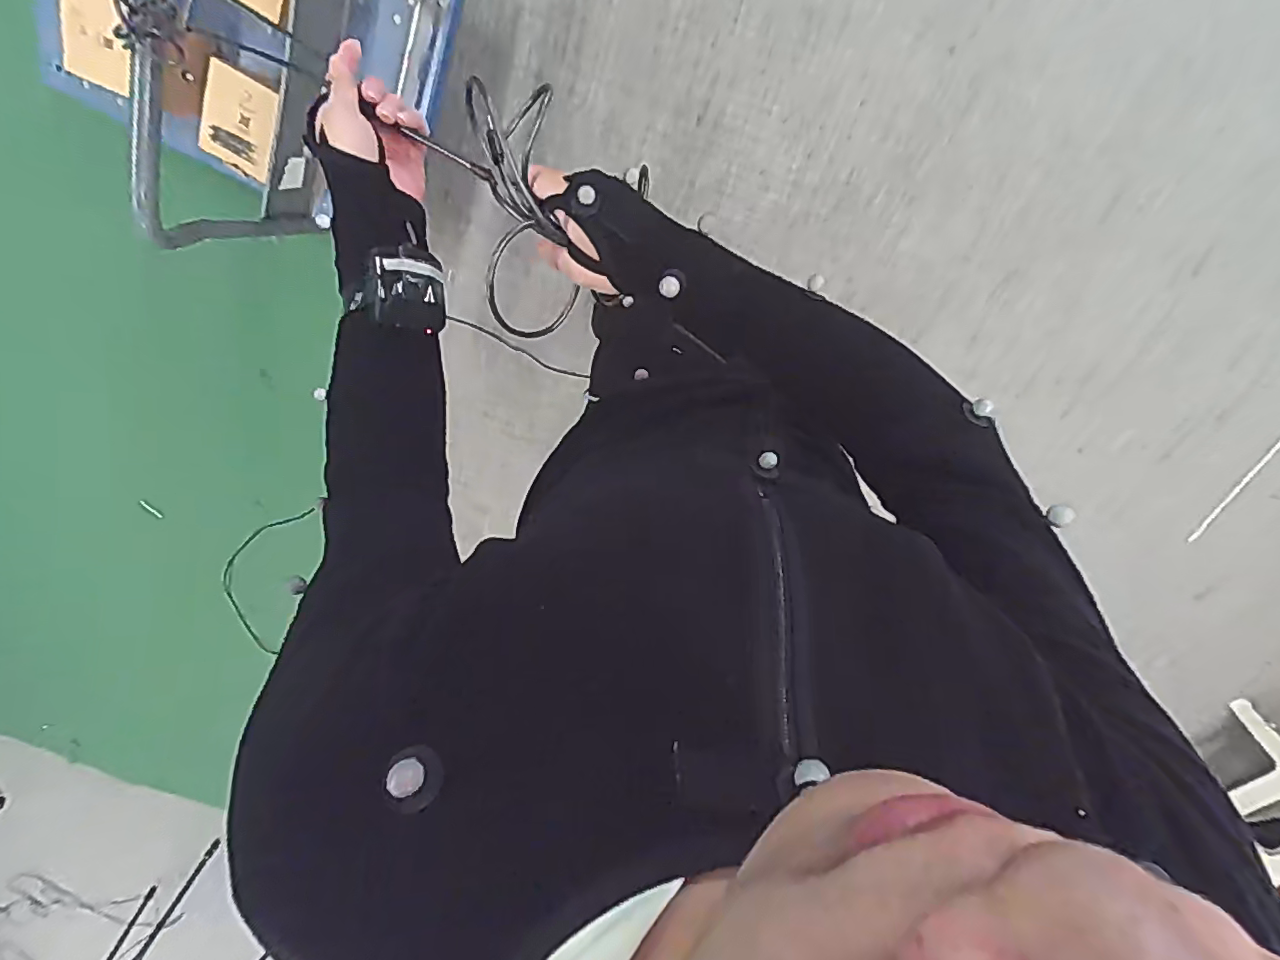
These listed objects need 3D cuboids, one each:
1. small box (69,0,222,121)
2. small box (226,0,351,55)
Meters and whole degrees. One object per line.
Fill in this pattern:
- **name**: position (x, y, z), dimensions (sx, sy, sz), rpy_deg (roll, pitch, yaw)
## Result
- **small box**: position (-1.030, -0.886, 1.140), dimensions (0.179, 0.176, 0.168), rpy_deg (23, 114, -4)
- **small box**: position (-0.703, -0.980, 1.056), dimensions (0.179, 0.176, 0.168), rpy_deg (28, 115, -7)
